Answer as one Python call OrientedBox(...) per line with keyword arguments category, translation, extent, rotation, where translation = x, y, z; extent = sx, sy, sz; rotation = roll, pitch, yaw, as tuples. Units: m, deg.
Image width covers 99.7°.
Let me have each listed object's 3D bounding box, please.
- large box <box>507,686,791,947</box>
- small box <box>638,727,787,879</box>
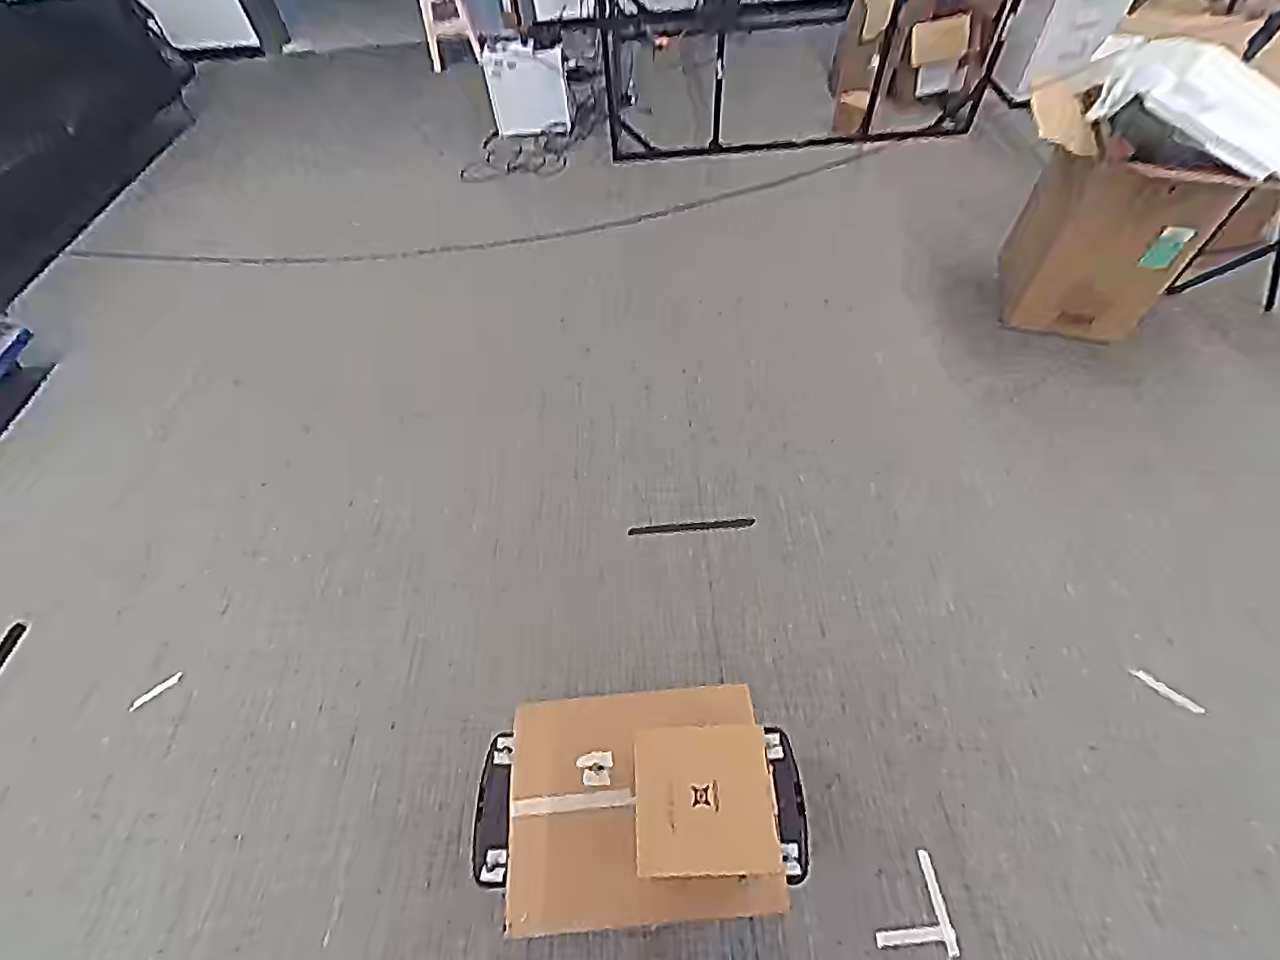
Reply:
OrientedBox(category="large box", translation=(0.012, 0.581, 0.950), extent=(0.408, 0.320, 0.320), rotation=(-6, 53, 1))
OrientedBox(category="small box", translation=(0.089, 0.442, 0.741), extent=(0.179, 0.176, 0.168), rotation=(-3, 54, 3))
